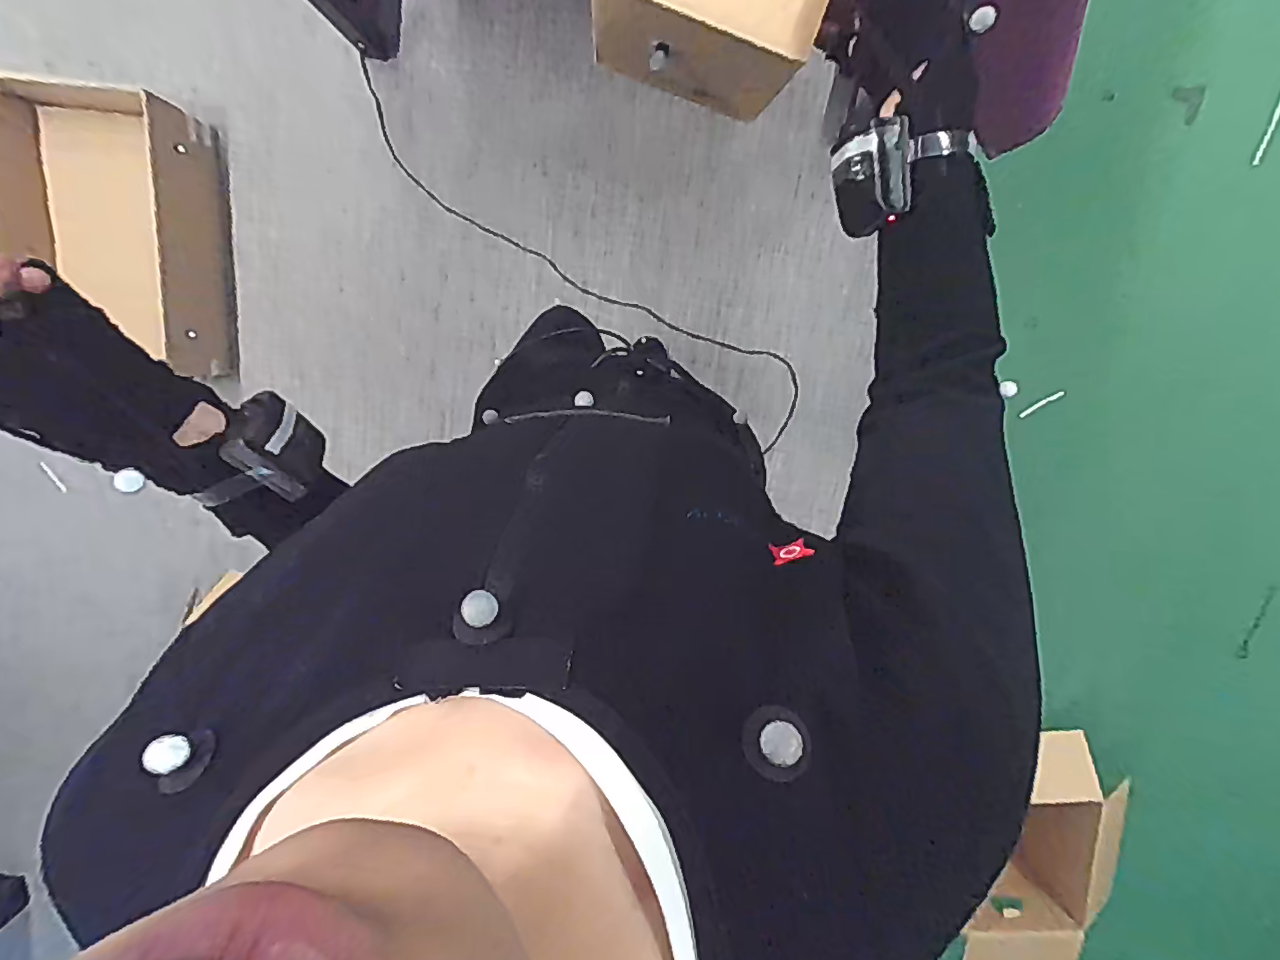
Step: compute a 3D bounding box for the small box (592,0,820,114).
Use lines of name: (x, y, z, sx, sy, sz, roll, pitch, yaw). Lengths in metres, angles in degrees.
small box: (0.062, -0.432, 0.429, 0.168, 0.176, 0.179, 15, 106, -9)
